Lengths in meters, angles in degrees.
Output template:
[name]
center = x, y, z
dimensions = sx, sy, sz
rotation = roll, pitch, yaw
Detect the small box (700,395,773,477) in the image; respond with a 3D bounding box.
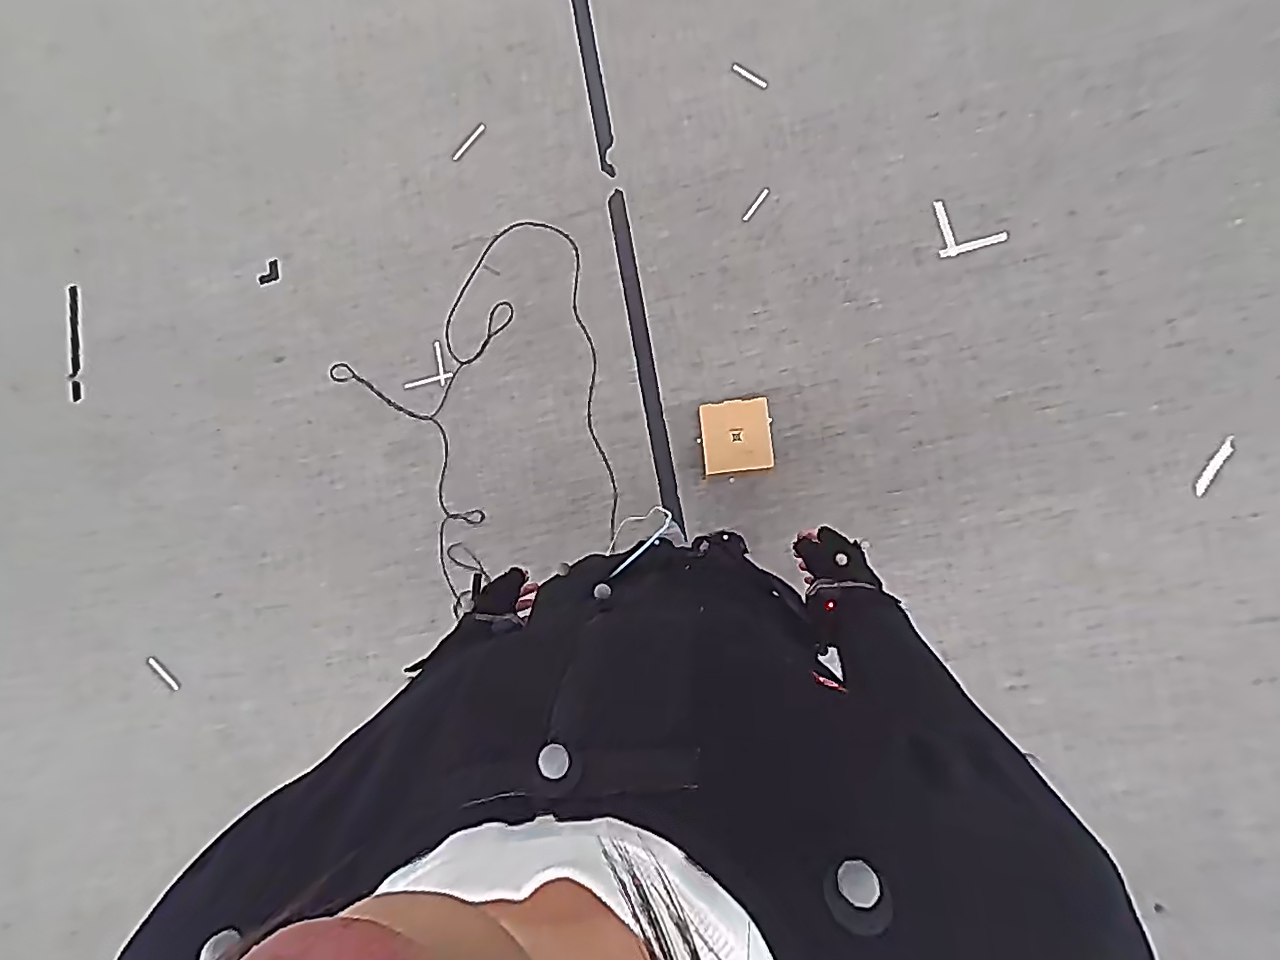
[small box]
center = 0.244, -0.108, 1.400
dimensions = 0.168, 0.176, 0.179
rotation = -6, 84, 8
